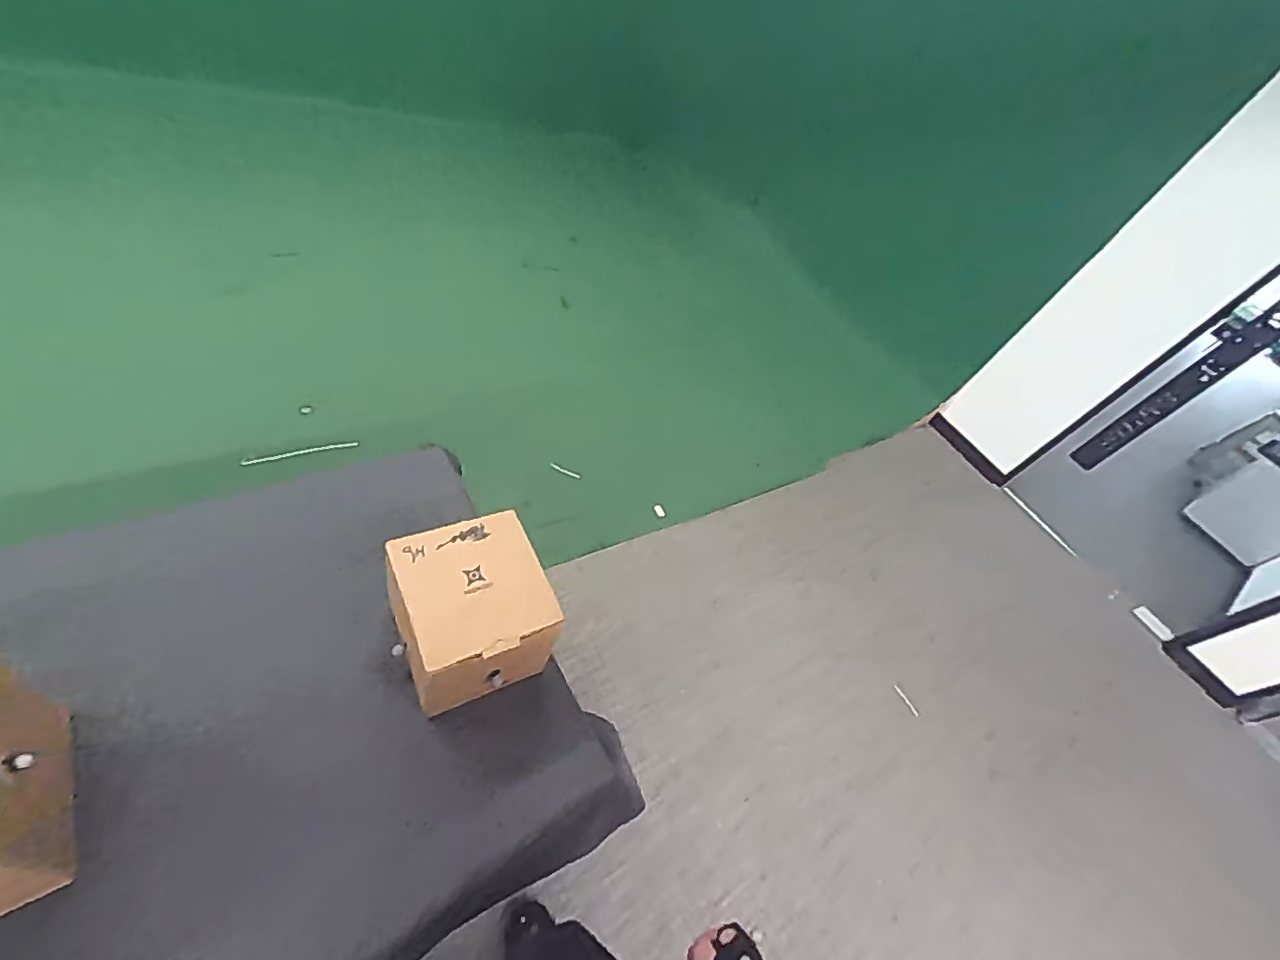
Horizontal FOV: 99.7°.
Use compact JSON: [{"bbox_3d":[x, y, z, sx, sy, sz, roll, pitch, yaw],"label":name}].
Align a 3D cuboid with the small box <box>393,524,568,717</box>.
[{"bbox_3d":[-0.215,0.190,0.714,0.168,0.176,0.179,-15,59,-31],"label":"small box"}]
